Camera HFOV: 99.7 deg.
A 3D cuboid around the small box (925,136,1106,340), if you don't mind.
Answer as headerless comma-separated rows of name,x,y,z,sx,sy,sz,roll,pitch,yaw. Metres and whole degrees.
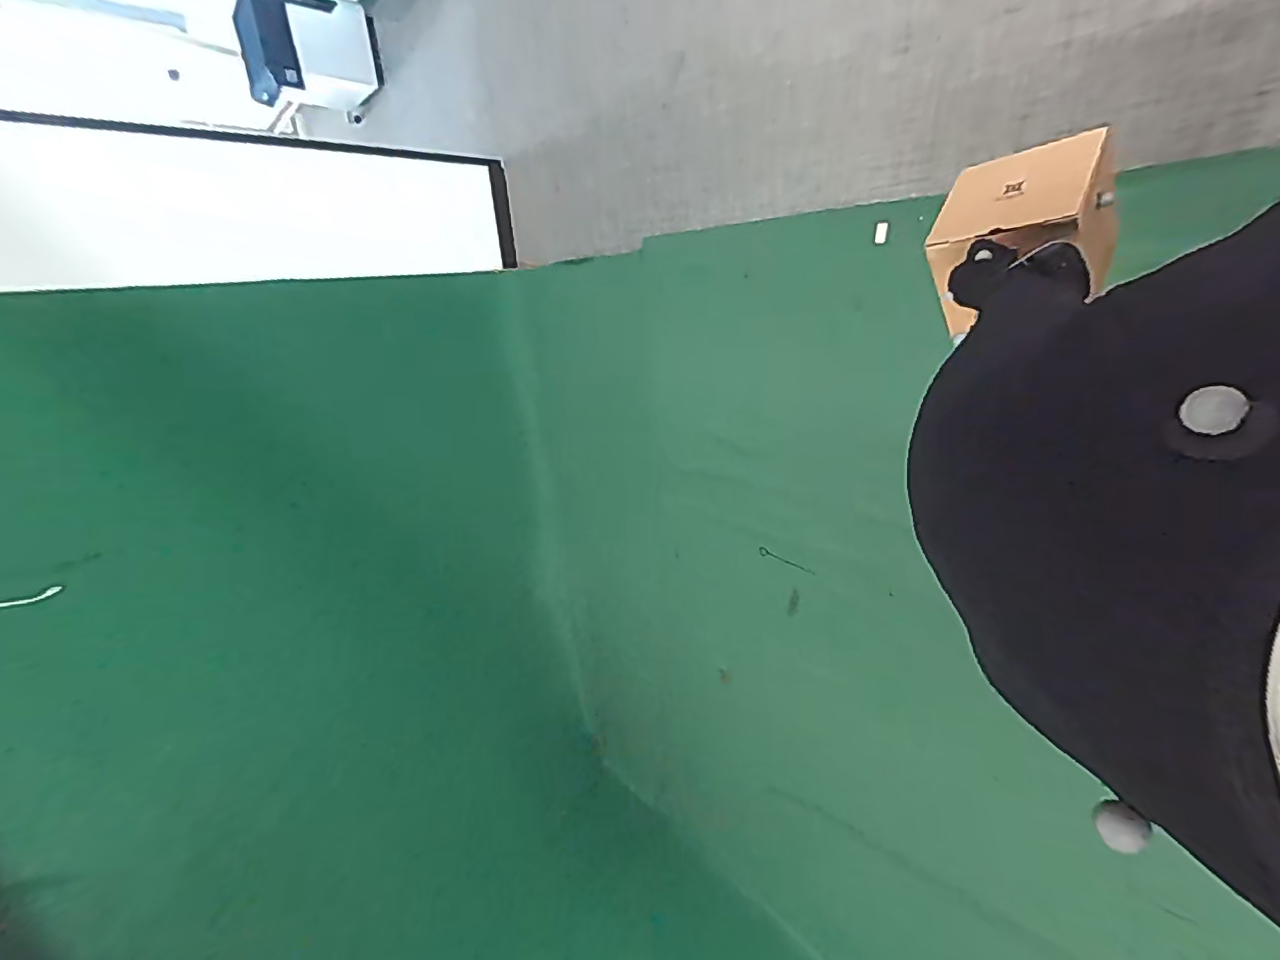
small box,0.526,-0.322,0.750,0.168,0.179,0.176,7,149,48
